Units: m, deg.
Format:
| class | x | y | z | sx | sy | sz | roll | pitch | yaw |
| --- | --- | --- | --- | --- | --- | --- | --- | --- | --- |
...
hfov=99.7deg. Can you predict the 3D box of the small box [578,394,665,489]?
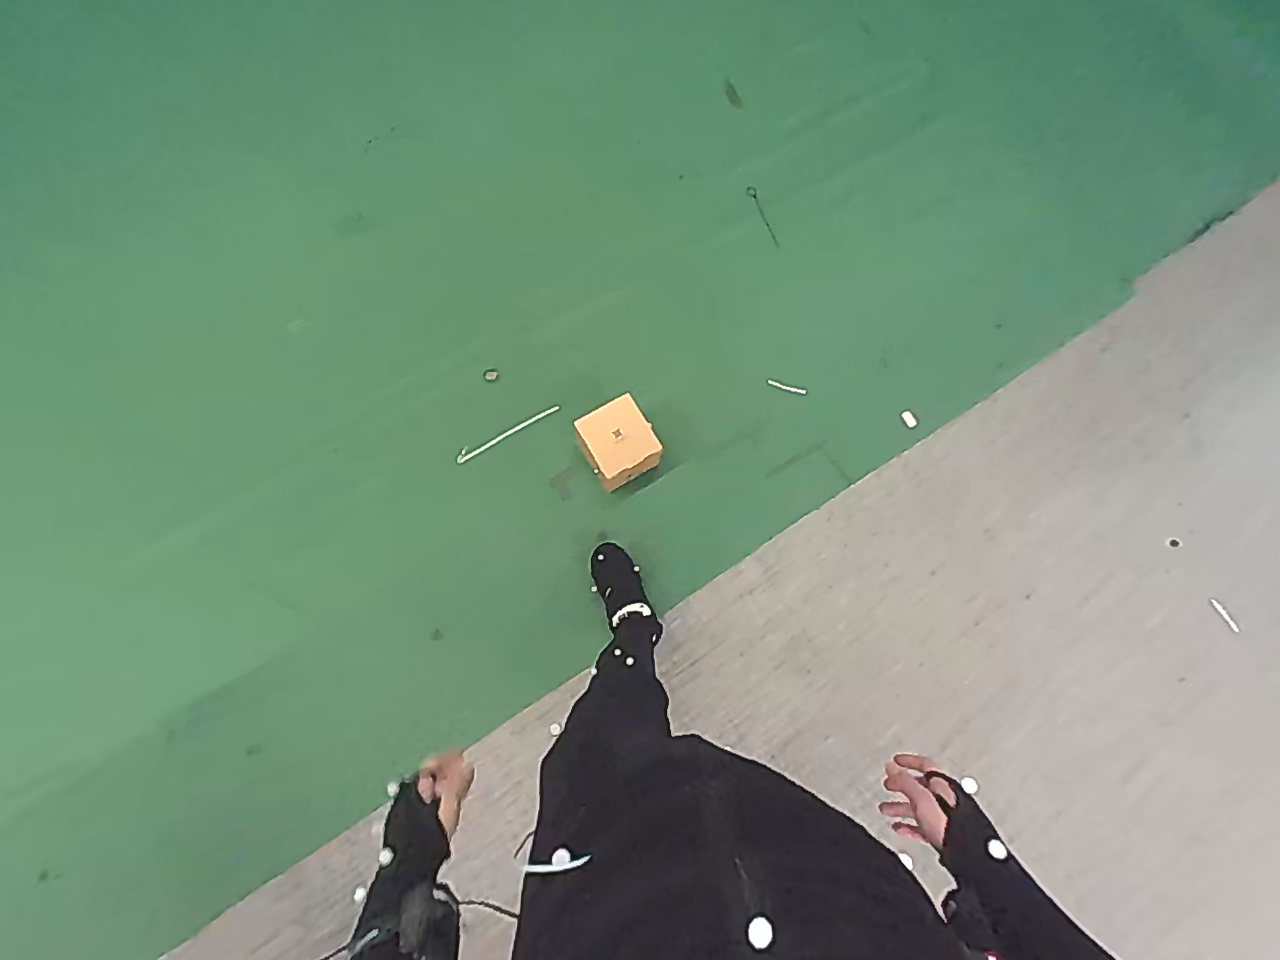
| class | x | y | z | sx | sy | sz | roll | pitch | yaw |
| --- | --- | --- | --- | --- | --- | --- | --- | --- | --- |
| small box | -0.055 | -0.096 | 1.448 | 0.168 | 0.176 | 0.179 | -30 | 82 | -10 |
